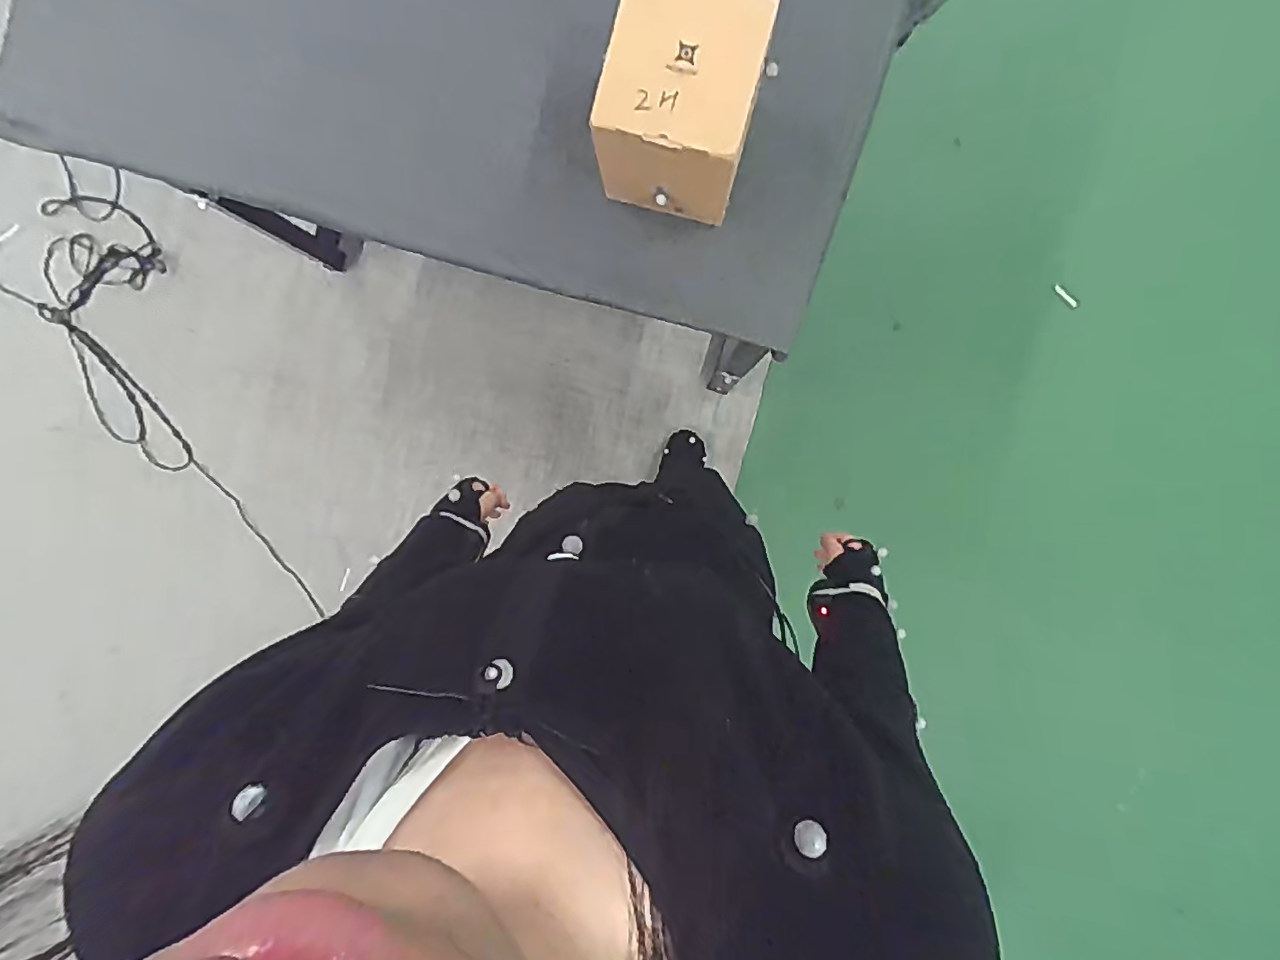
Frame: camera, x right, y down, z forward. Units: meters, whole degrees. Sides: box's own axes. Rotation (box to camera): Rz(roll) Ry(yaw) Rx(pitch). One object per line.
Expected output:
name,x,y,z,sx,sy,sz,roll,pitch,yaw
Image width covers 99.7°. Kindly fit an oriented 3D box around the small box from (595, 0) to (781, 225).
small box,0.055,-0.449,0.661,0.168,0.176,0.179,16,93,4
